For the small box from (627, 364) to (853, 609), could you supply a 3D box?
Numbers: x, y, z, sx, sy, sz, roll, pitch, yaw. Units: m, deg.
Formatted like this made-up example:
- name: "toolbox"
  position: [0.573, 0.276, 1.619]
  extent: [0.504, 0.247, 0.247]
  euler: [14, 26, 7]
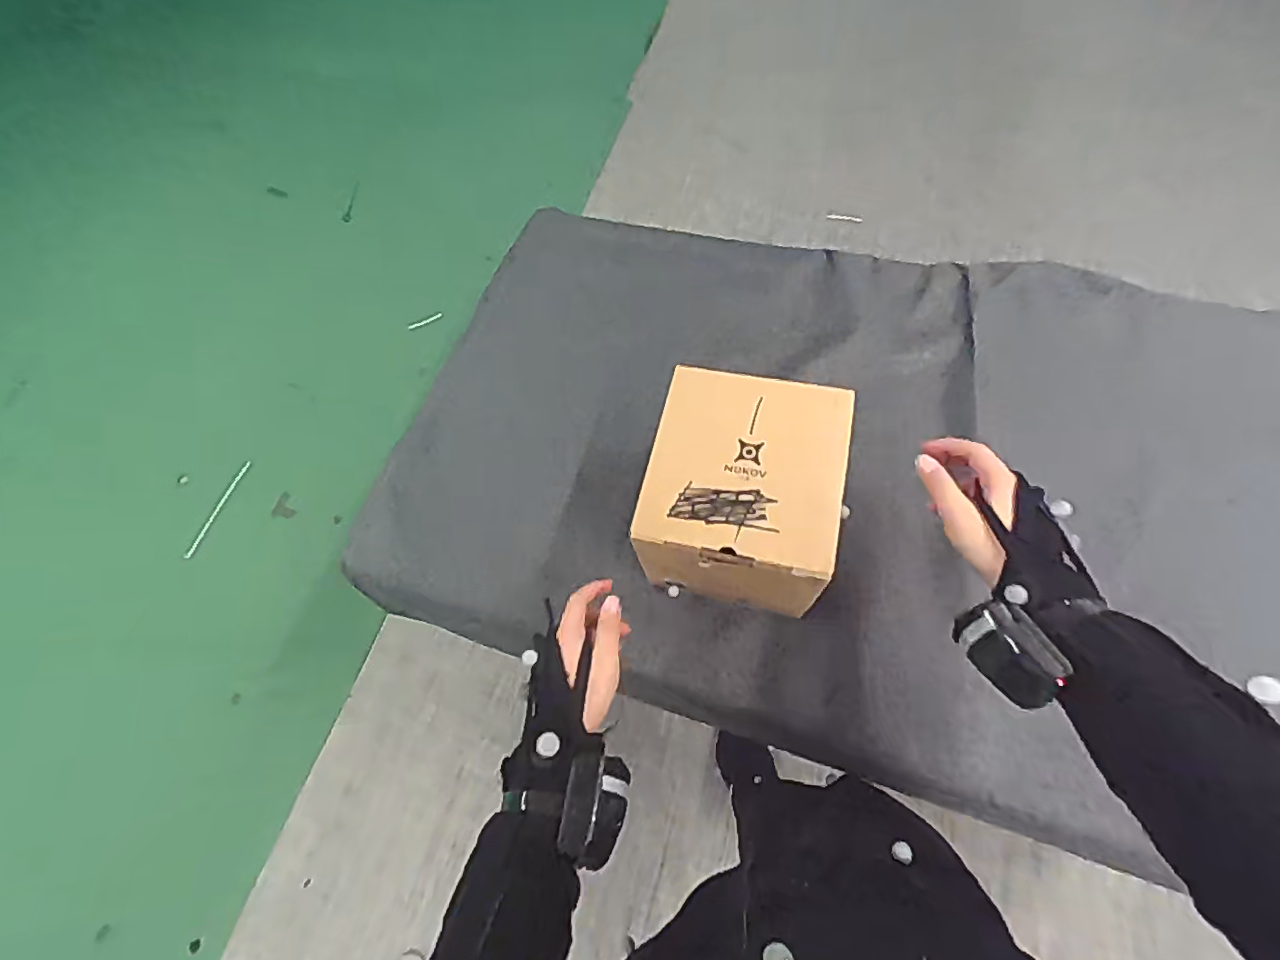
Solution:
- name: "small box"
  position: [0.098, 0.015, 0.535]
  extent: [0.168, 0.176, 0.179]
  euler: [11, 67, 12]
